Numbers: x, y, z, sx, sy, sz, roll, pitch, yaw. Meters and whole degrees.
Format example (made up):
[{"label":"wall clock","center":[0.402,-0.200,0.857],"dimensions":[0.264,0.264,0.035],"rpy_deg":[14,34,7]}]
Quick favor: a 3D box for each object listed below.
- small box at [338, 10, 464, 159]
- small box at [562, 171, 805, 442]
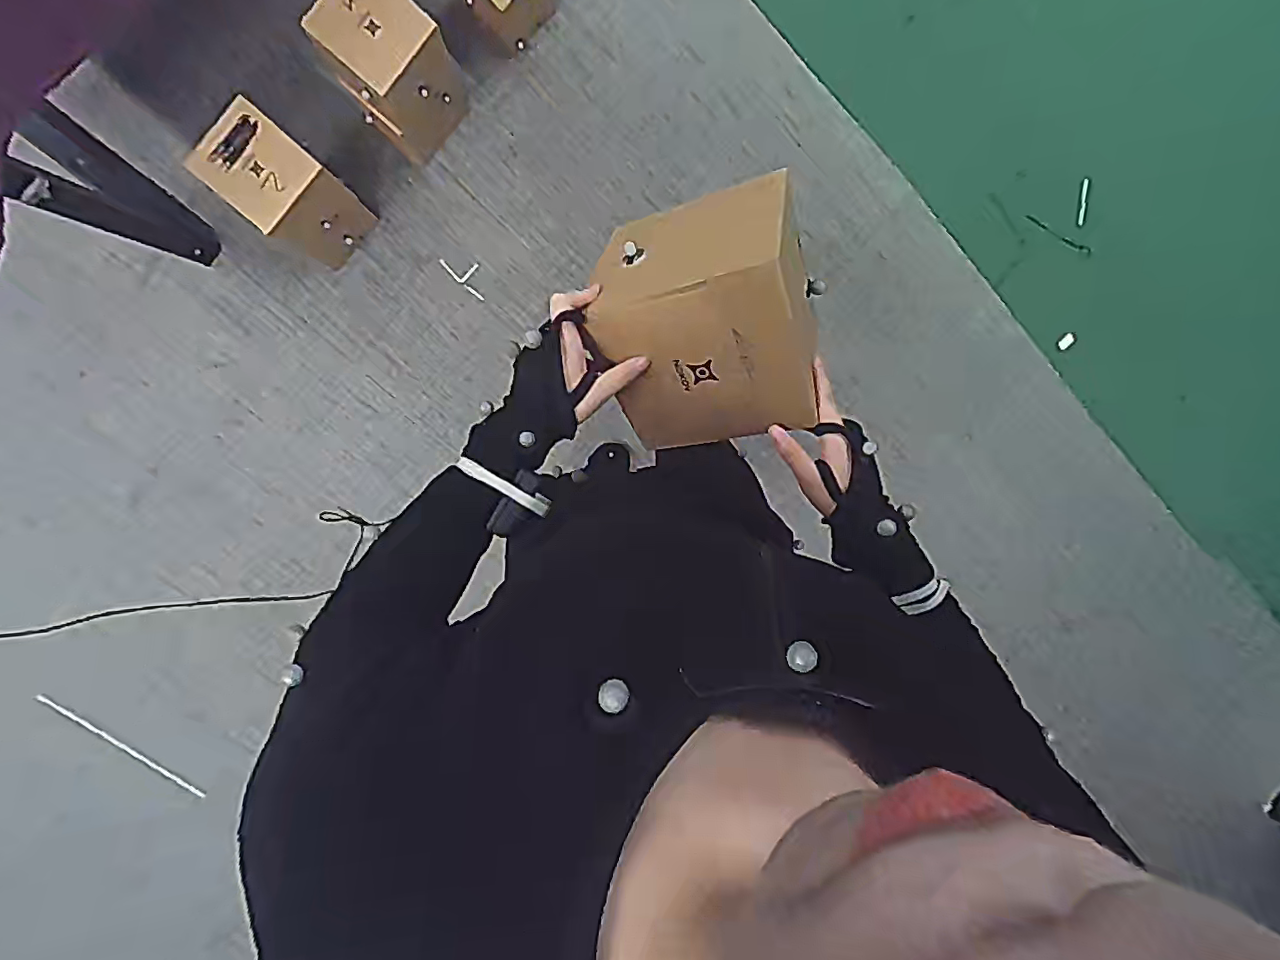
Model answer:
[{"label":"small box","center":[-0.521,-0.869,1.212],"dimensions":[0.168,0.176,0.179],"rpy_deg":[41,93,-11]},{"label":"small box","center":[0.057,-0.161,0.524],"dimensions":[0.179,0.176,0.168],"rpy_deg":[-6,137,25]}]
